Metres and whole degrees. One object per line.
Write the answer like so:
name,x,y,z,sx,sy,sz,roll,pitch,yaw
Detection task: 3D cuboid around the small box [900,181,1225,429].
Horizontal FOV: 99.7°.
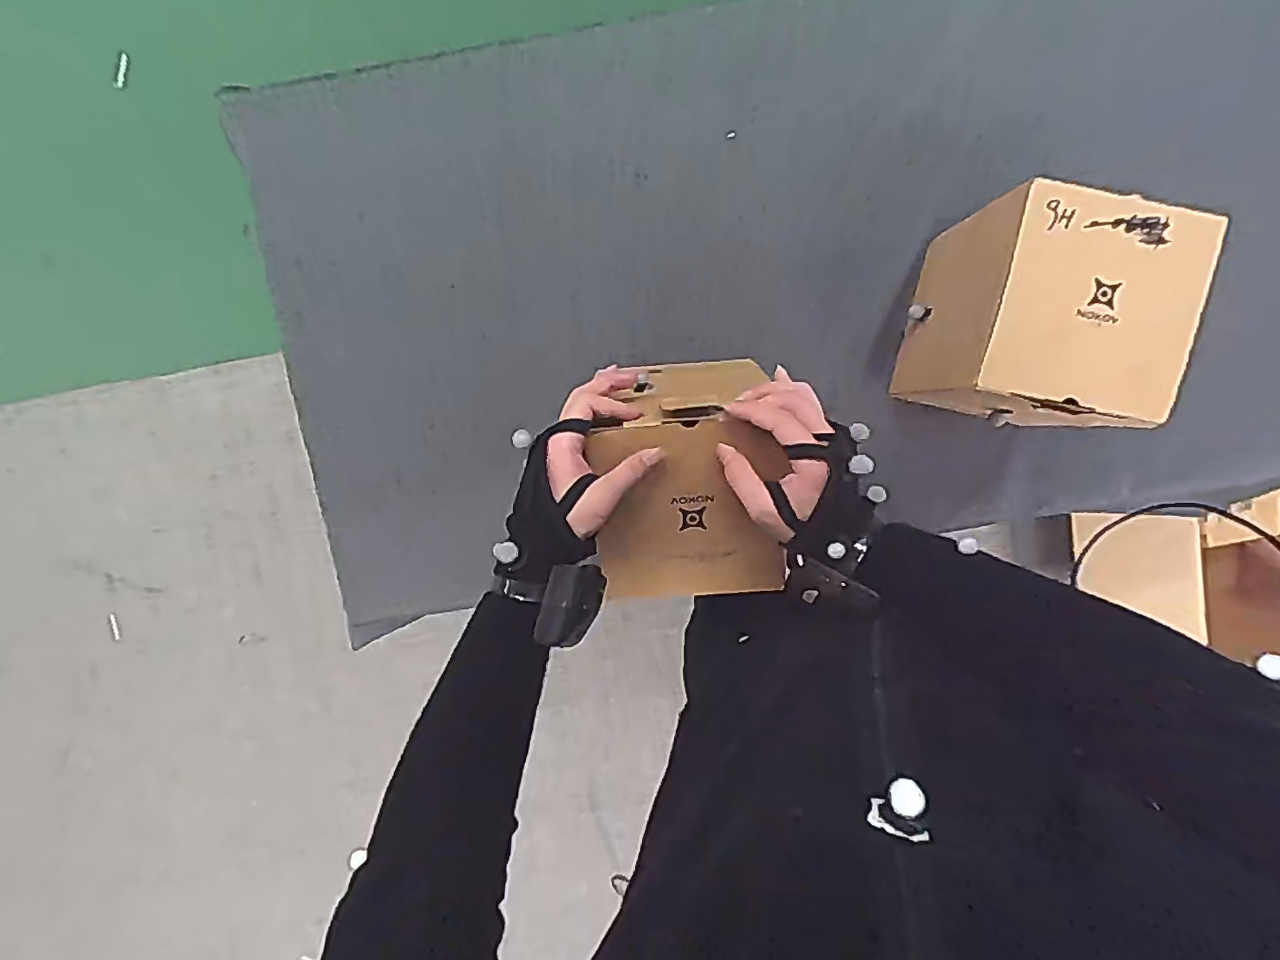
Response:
small box,0.384,-0.154,0.532,0.168,0.176,0.179,12,97,0

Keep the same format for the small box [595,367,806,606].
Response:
small box,0.049,-0.005,0.517,0.168,0.176,0.179,-4,116,2
